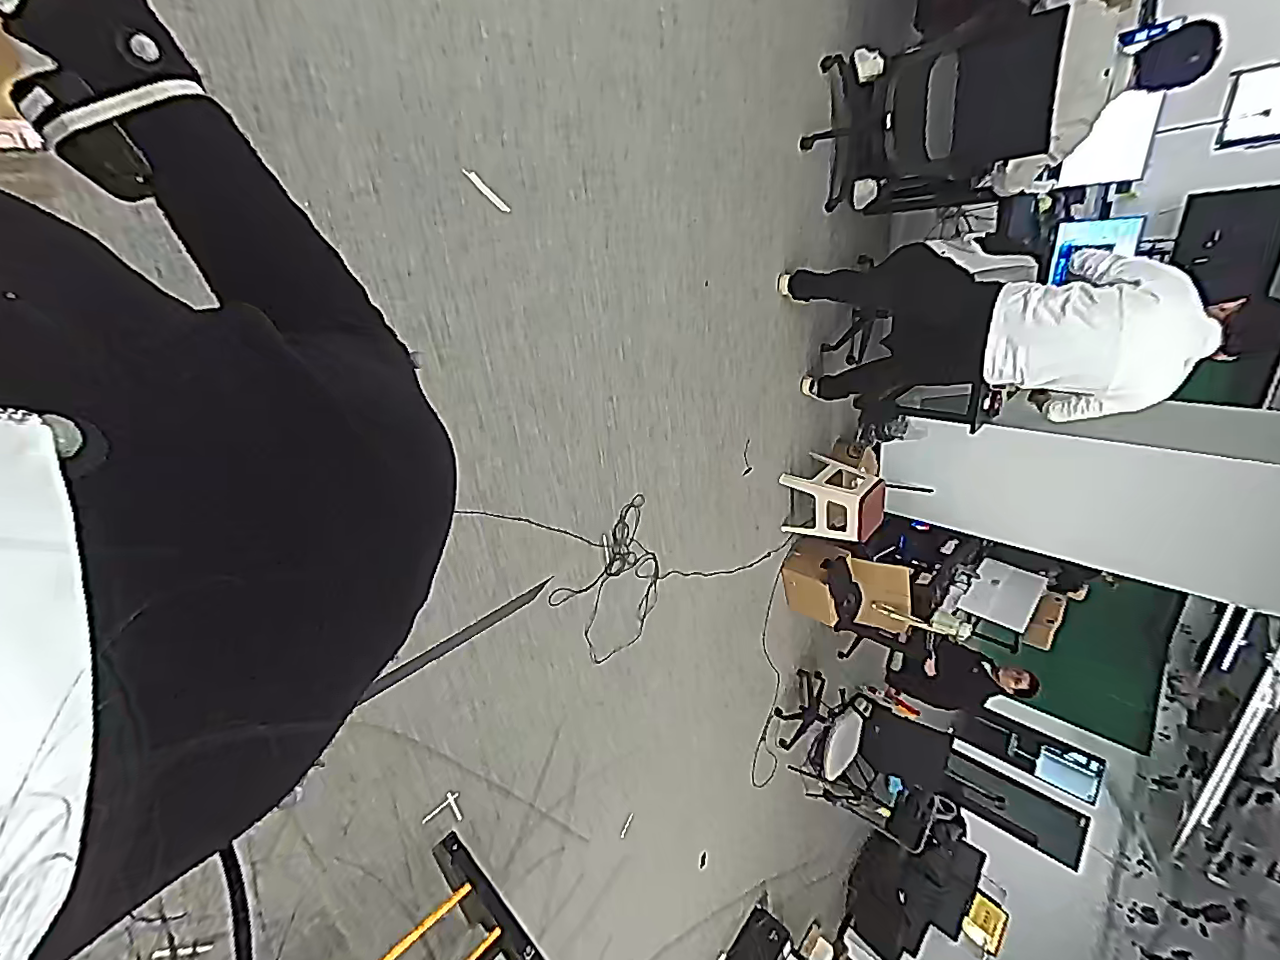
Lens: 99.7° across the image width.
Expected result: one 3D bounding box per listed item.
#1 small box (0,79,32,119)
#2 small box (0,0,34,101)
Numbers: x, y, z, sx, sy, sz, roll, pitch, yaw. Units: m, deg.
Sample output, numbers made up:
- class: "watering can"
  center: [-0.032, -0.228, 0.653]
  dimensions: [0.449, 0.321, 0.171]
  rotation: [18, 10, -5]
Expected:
- class: "small box"
  center: [-0.739, -0.448, 0.506]
  dimensions: [0.179, 0.176, 0.168]
  rotation: [-31, 125, -38]
- class: "small box"
  center: [-0.616, -0.412, 0.404]
  dimensions: [0.168, 0.176, 0.179]
  rotation: [-28, 124, -40]
